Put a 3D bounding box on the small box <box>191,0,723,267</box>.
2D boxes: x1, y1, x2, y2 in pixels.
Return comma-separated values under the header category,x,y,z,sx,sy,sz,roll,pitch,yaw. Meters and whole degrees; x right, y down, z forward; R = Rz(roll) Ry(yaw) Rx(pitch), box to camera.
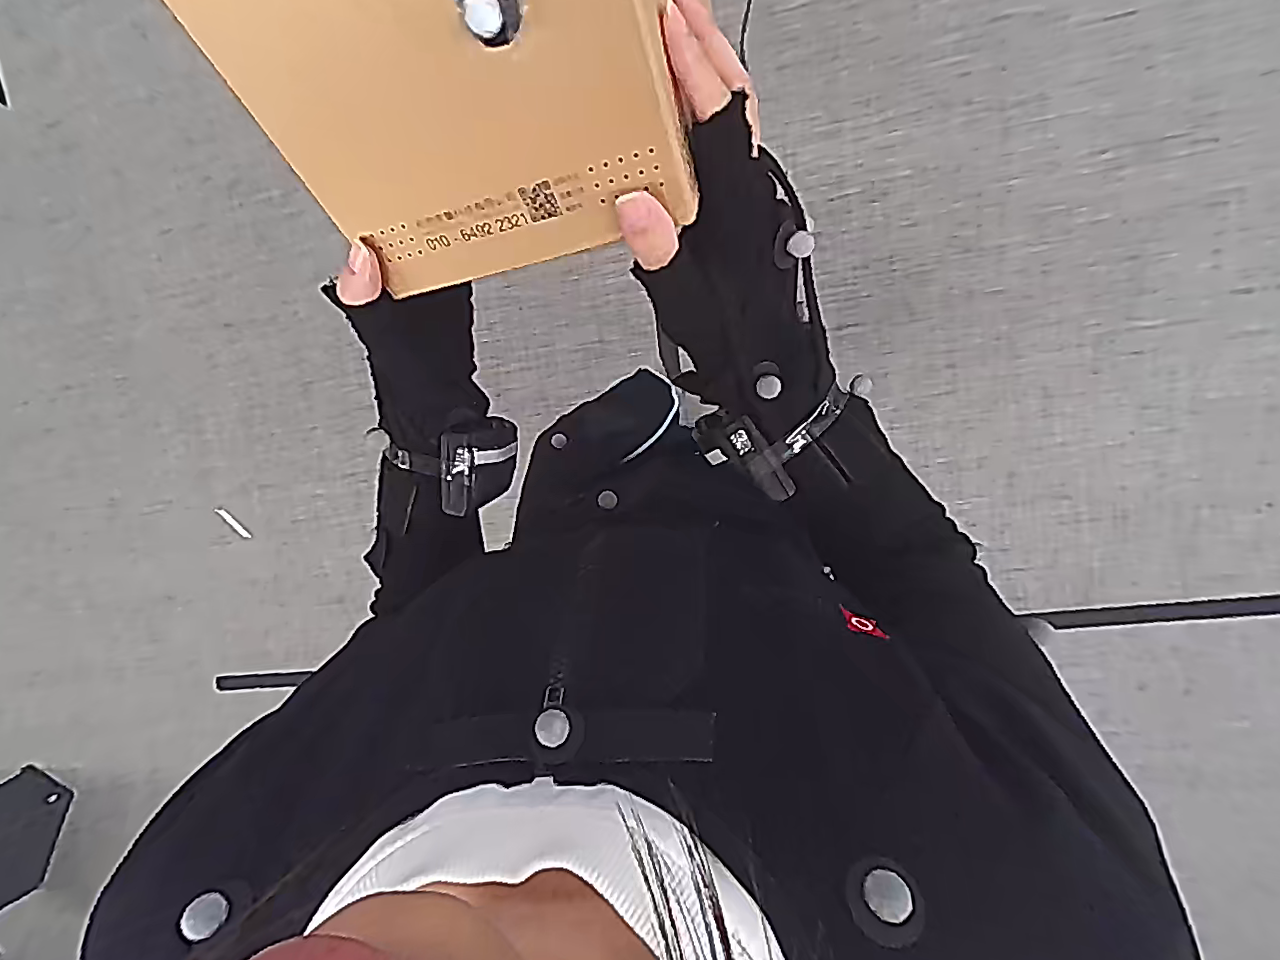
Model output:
category,x,y,z,sx,sy,sz,roll,pitch,yaw
small box,-0.063,-0.224,0.262,0.168,0.179,0.176,-3,141,22
